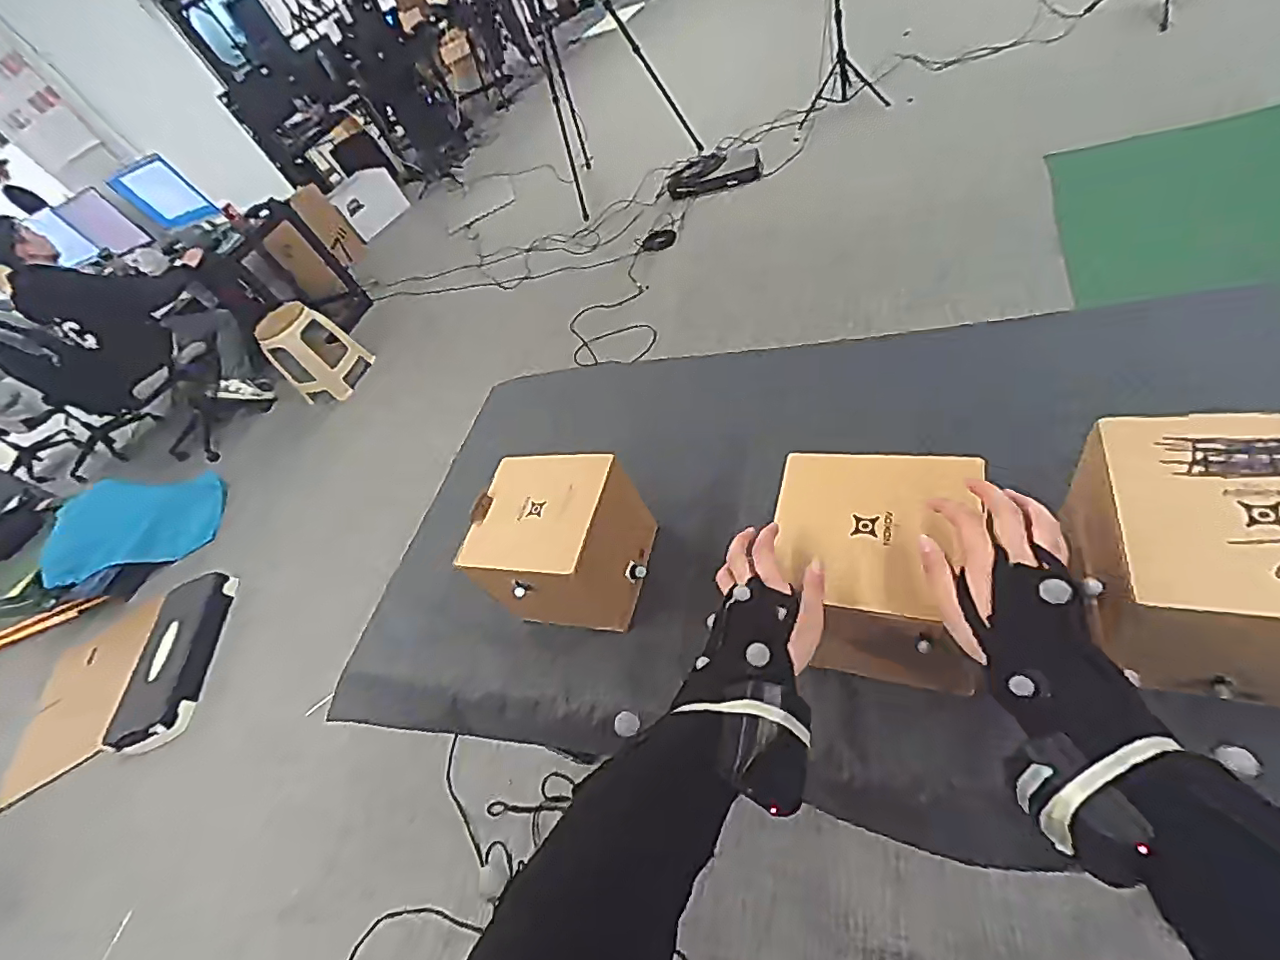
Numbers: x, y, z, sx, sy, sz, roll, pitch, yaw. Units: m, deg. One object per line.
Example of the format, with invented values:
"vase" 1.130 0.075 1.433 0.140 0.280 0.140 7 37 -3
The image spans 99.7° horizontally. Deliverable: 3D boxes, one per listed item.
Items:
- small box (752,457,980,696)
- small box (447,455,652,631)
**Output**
"small box" 0.228 0.094 0.536 0.179 0.176 0.168 4 54 27
"small box" -0.105 0.083 0.705 0.179 0.176 0.168 0 54 25
